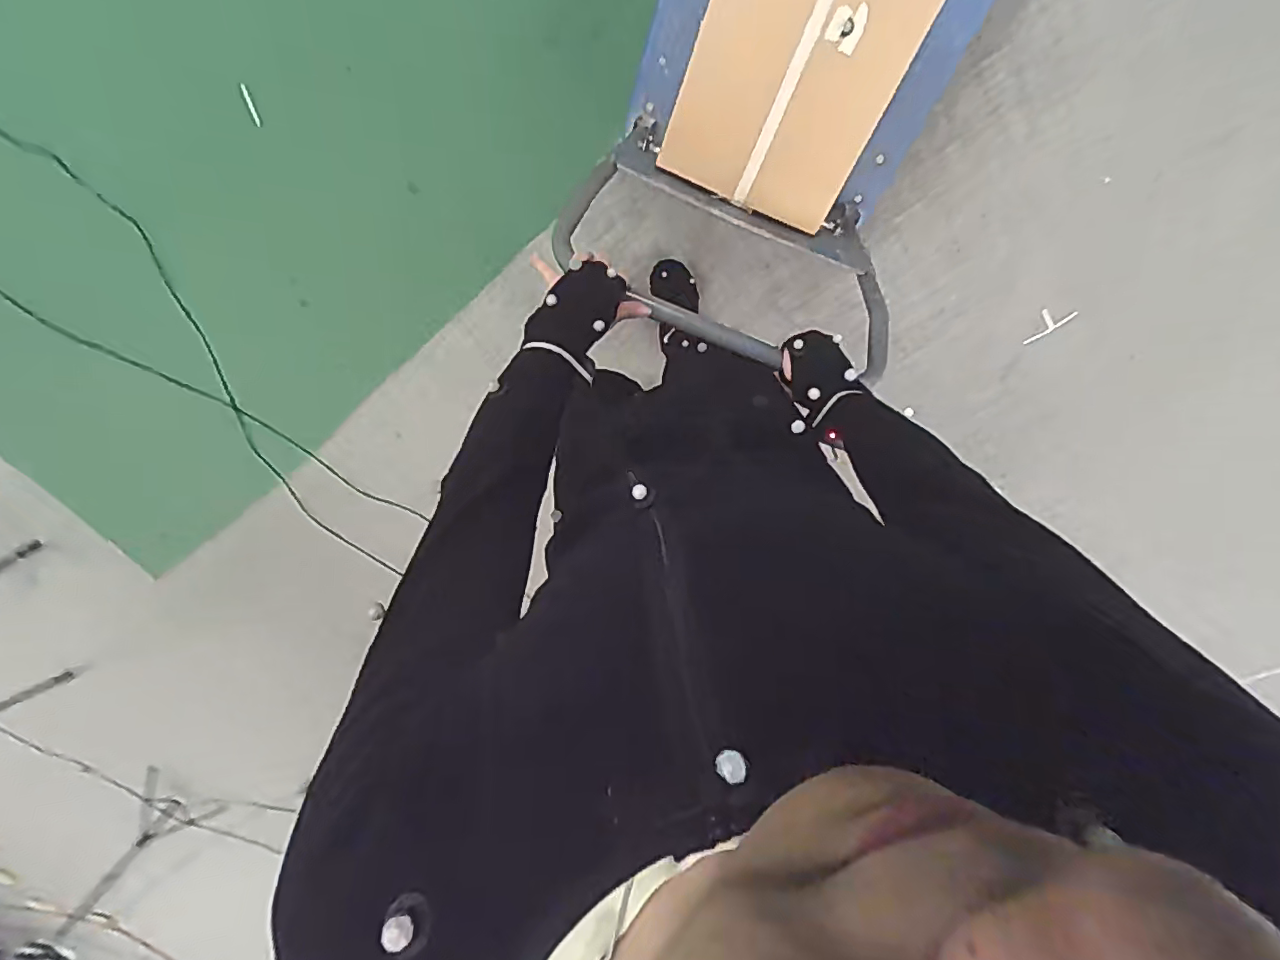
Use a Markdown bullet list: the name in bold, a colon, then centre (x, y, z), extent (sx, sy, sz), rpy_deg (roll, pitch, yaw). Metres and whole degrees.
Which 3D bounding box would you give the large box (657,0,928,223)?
- **large box**: centre (0.256, -0.743, 0.958), extent (0.320, 0.320, 0.408), rpy_deg (21, 128, -5)
